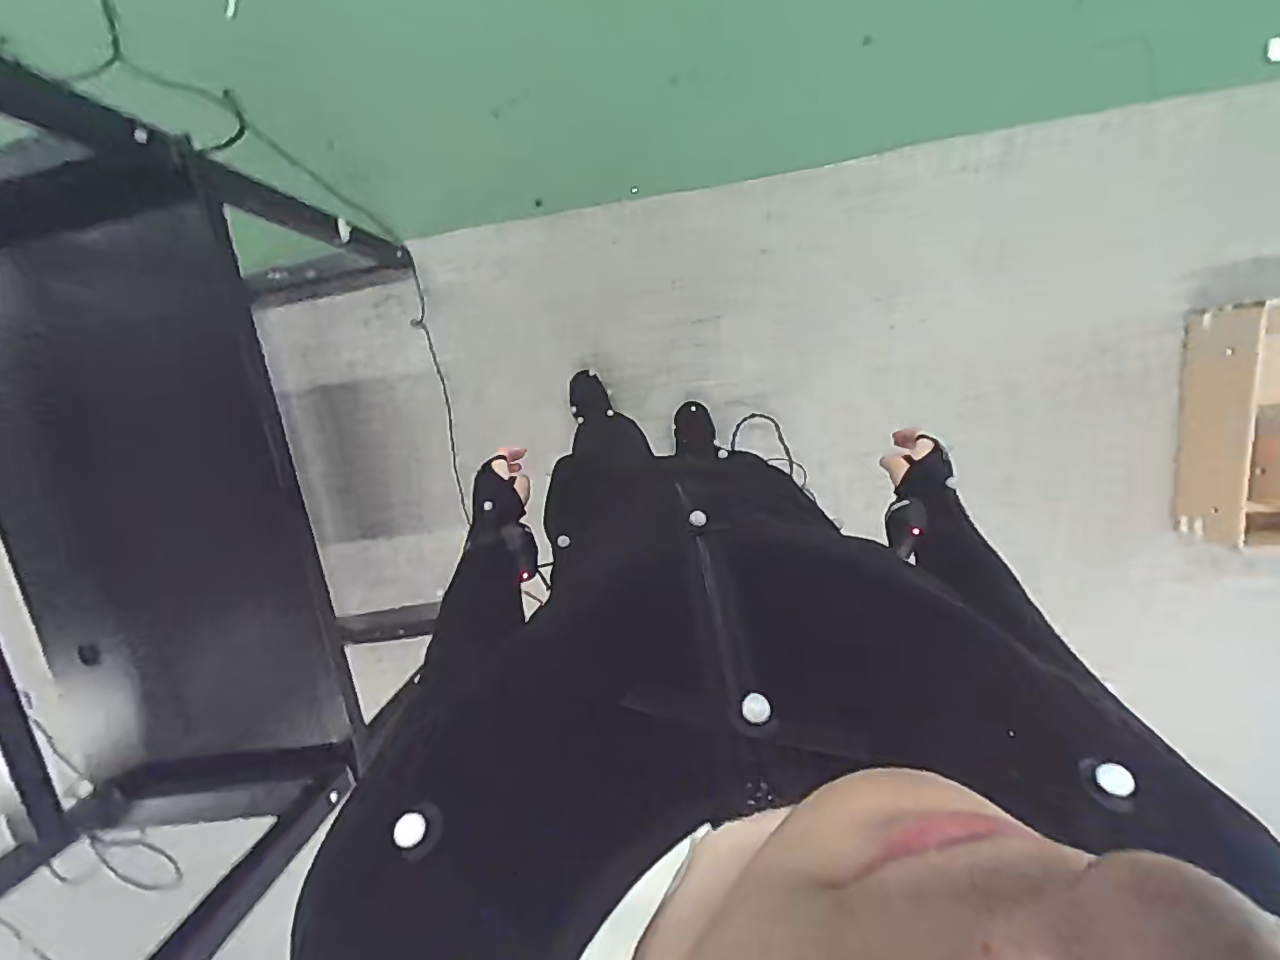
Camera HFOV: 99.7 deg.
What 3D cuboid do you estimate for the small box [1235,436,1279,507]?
[{"bbox_3d":[1.663,-0.020,1.352,0.179,0.176,0.168,-4,99,6],"label":"small box"}]
